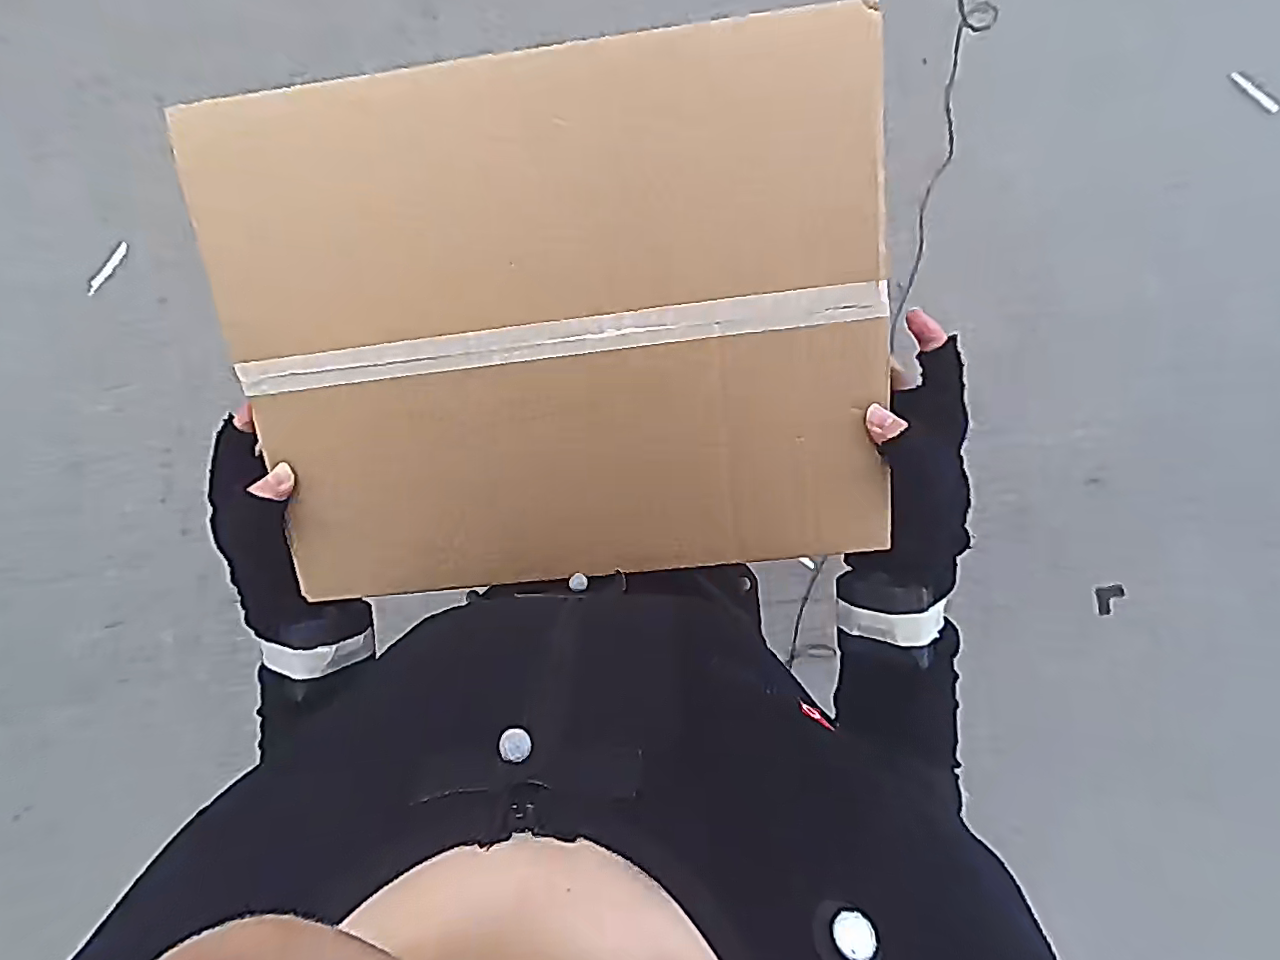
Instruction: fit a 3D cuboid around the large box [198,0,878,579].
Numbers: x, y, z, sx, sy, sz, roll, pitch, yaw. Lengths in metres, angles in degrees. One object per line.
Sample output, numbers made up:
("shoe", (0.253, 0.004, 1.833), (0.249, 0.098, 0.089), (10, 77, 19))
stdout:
("large box", (-0.050, -0.131, 0.489), (0.408, 0.320, 0.320), (-6, 104, 4))
